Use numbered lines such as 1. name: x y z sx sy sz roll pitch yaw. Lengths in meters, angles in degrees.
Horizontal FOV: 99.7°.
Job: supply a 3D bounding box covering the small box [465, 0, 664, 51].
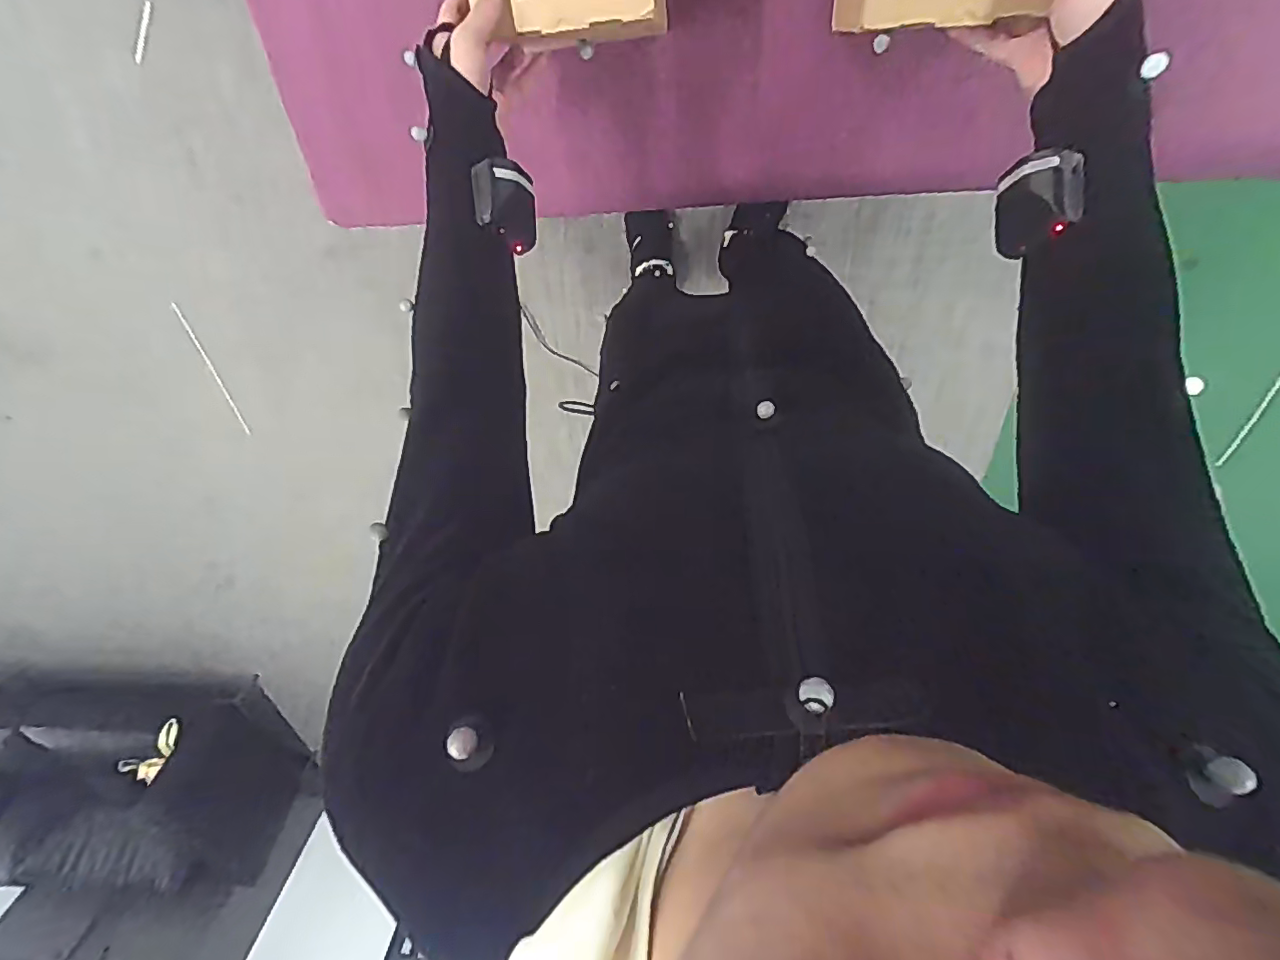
1. small box: -0.068 -0.511 0.489 0.168 0.176 0.179 -1 127 8
